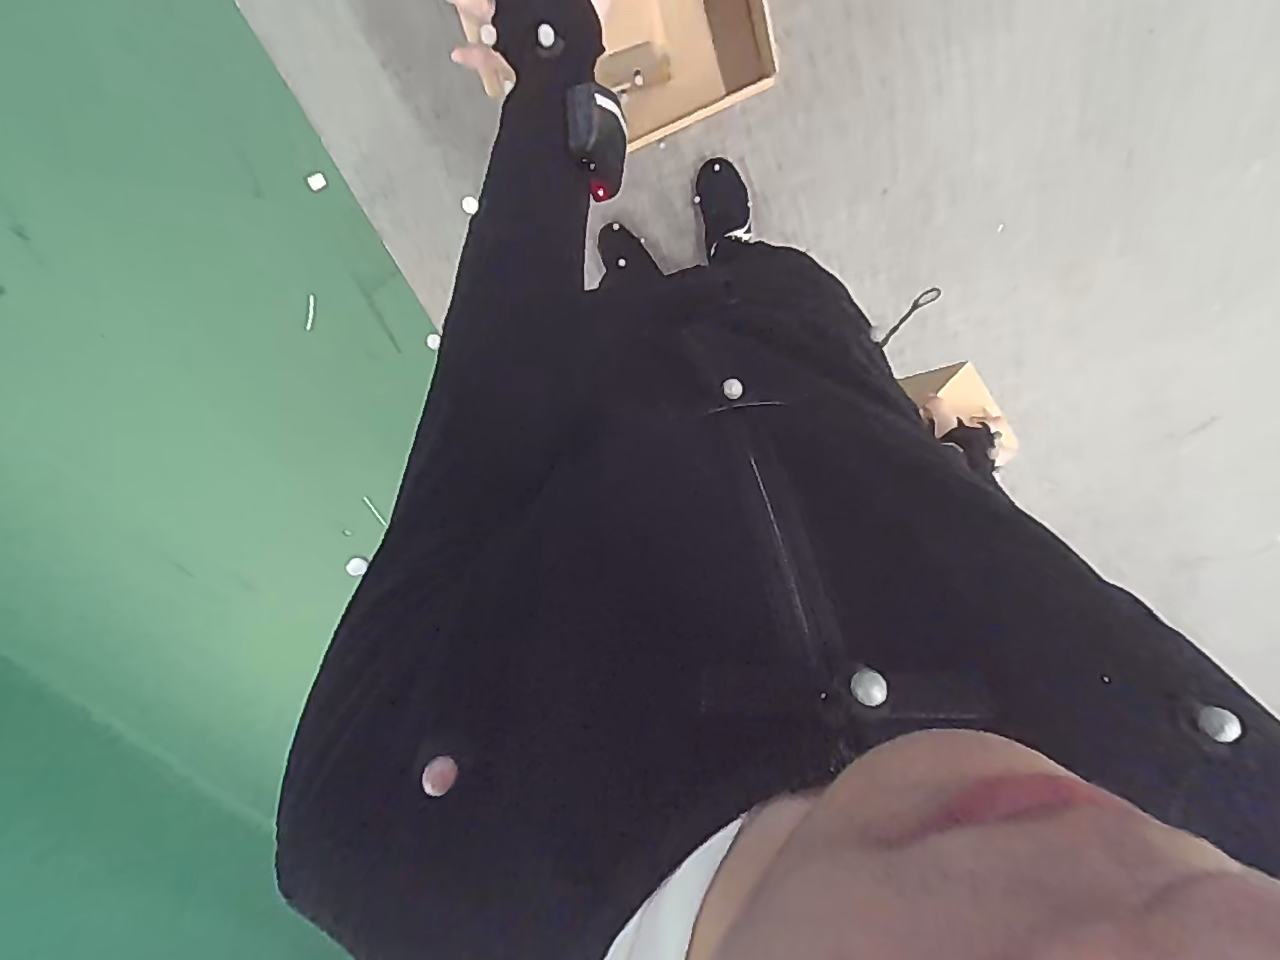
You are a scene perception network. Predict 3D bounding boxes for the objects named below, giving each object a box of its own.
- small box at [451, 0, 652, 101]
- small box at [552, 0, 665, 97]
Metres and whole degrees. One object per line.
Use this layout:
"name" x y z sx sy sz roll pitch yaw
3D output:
"small box" -0.089 -0.499 0.529 0.168 0.176 0.179 -11 122 12
"small box" -0.067 -0.592 0.662 0.168 0.176 0.179 -11 120 12
